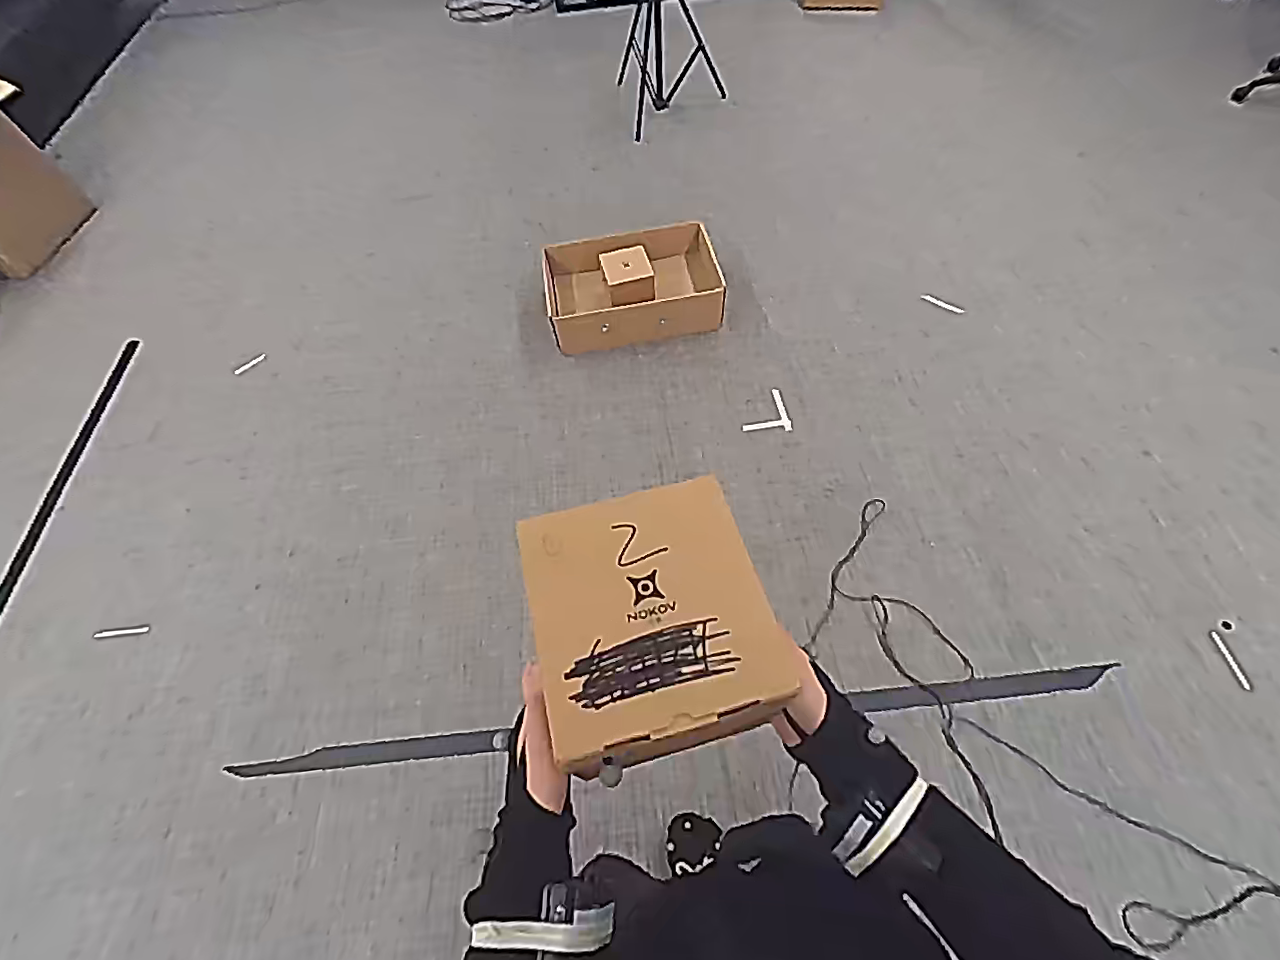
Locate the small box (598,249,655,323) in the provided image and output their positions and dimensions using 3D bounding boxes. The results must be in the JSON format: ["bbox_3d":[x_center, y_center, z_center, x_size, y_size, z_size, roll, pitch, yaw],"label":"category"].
[{"bbox_3d":[-0.048,-0.707,1.975,0.168,0.176,0.179,-15,60,-4],"label":"small box"}]
